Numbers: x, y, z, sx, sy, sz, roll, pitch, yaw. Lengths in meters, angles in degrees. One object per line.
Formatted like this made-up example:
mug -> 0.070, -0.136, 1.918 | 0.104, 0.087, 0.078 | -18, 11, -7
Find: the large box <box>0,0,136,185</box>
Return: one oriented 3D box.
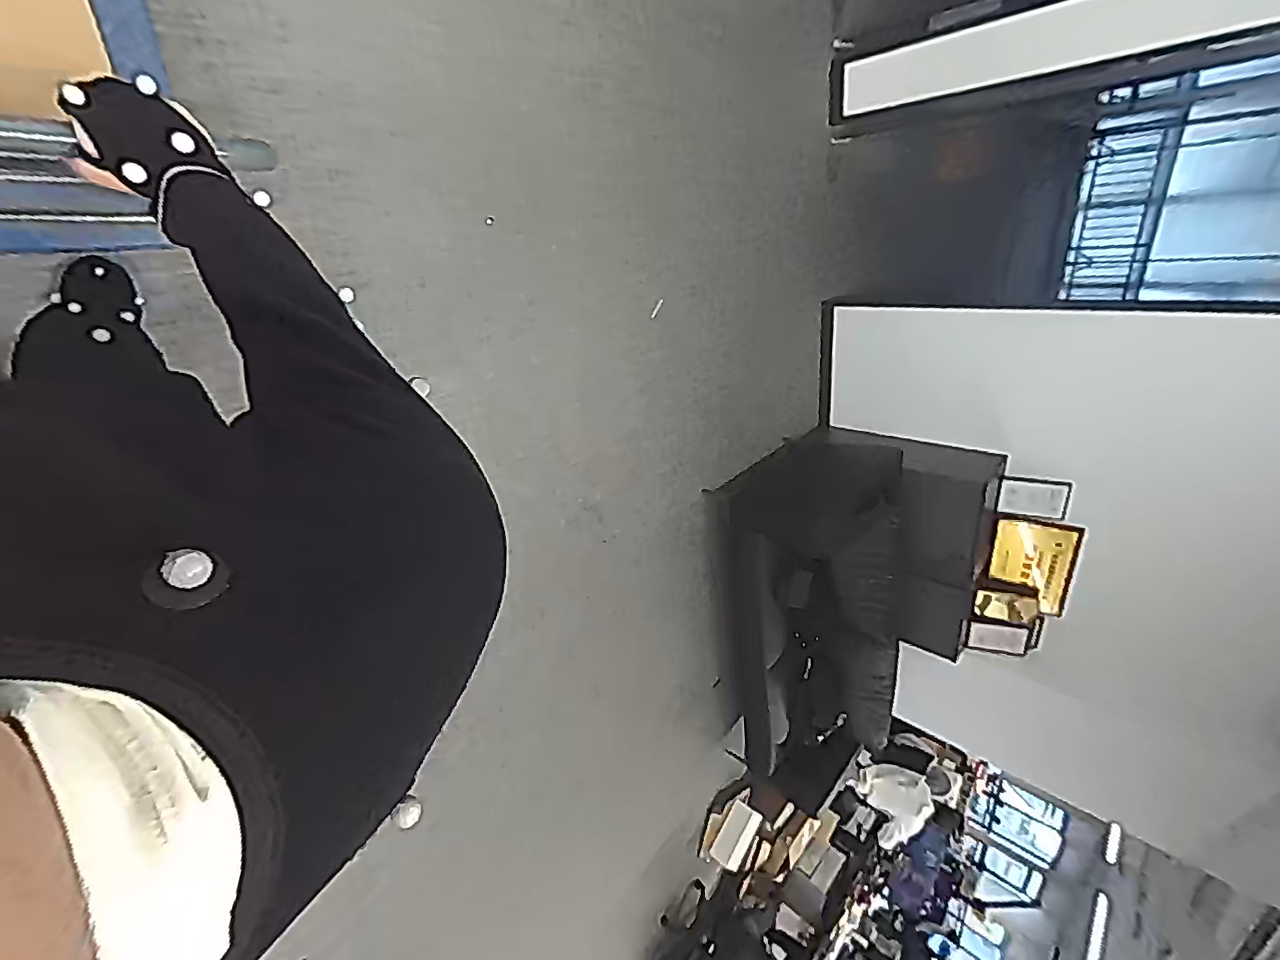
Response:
large box -> -0.960, -0.642, 0.721 | 0.320, 0.320, 0.408 | -24, 119, -41
